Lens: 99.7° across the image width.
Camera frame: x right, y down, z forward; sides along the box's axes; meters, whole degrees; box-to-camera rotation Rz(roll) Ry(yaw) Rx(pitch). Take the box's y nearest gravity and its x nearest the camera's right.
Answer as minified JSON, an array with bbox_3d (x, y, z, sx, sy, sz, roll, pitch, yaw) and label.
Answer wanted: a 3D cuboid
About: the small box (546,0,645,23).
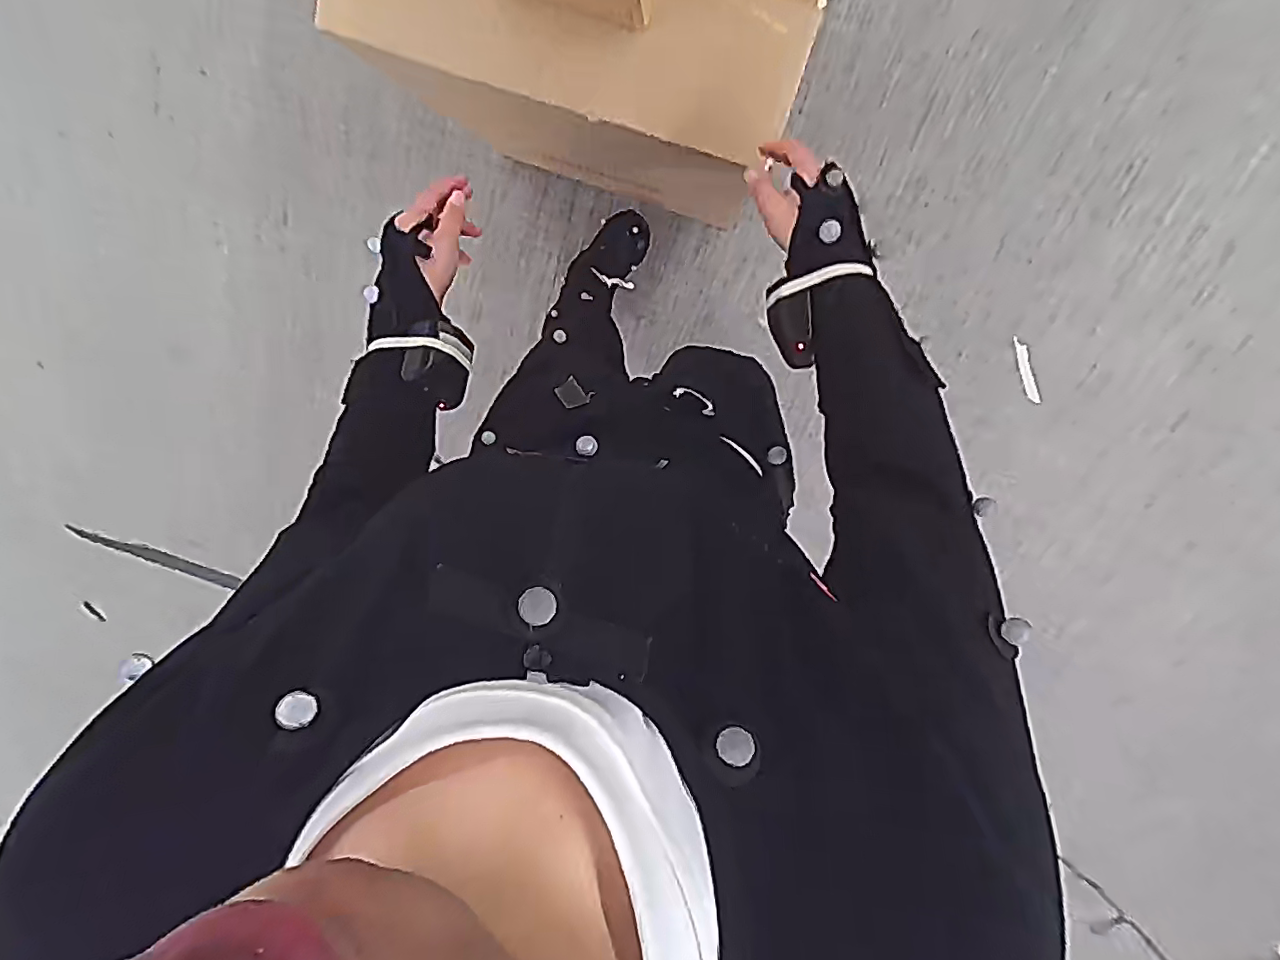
[{"bbox_3d":[-0.061,-0.532,0.454,0.179,0.176,0.168,18,110,-1],"label":"small box"}]
